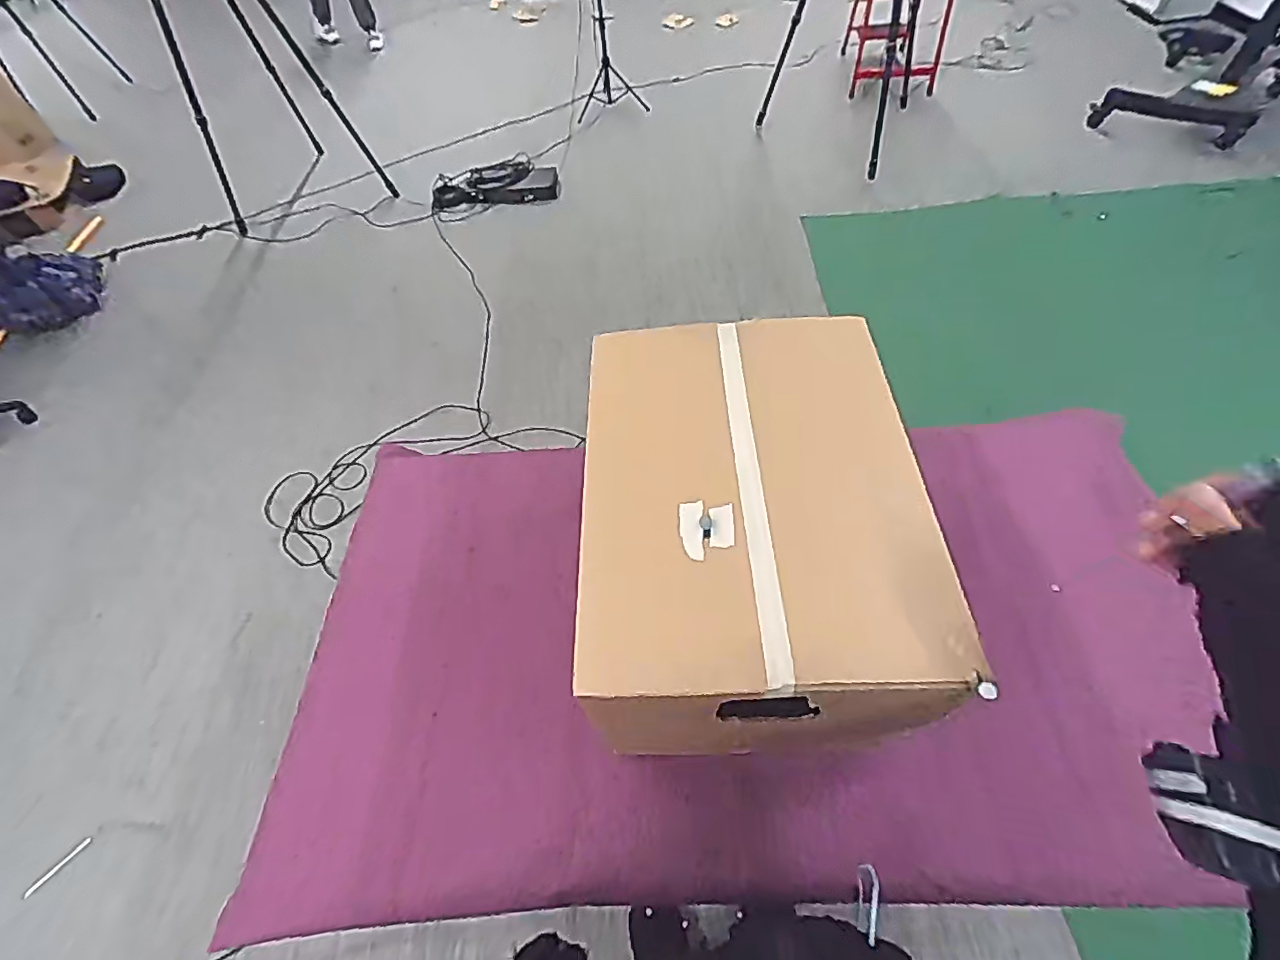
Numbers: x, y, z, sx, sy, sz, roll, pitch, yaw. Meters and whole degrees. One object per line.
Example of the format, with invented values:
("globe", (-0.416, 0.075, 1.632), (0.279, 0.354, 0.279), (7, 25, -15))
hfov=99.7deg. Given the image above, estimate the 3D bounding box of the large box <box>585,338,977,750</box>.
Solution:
("large box", (0.112, 0.084, 0.654), (0.320, 0.320, 0.408), (-3, 56, 3))
